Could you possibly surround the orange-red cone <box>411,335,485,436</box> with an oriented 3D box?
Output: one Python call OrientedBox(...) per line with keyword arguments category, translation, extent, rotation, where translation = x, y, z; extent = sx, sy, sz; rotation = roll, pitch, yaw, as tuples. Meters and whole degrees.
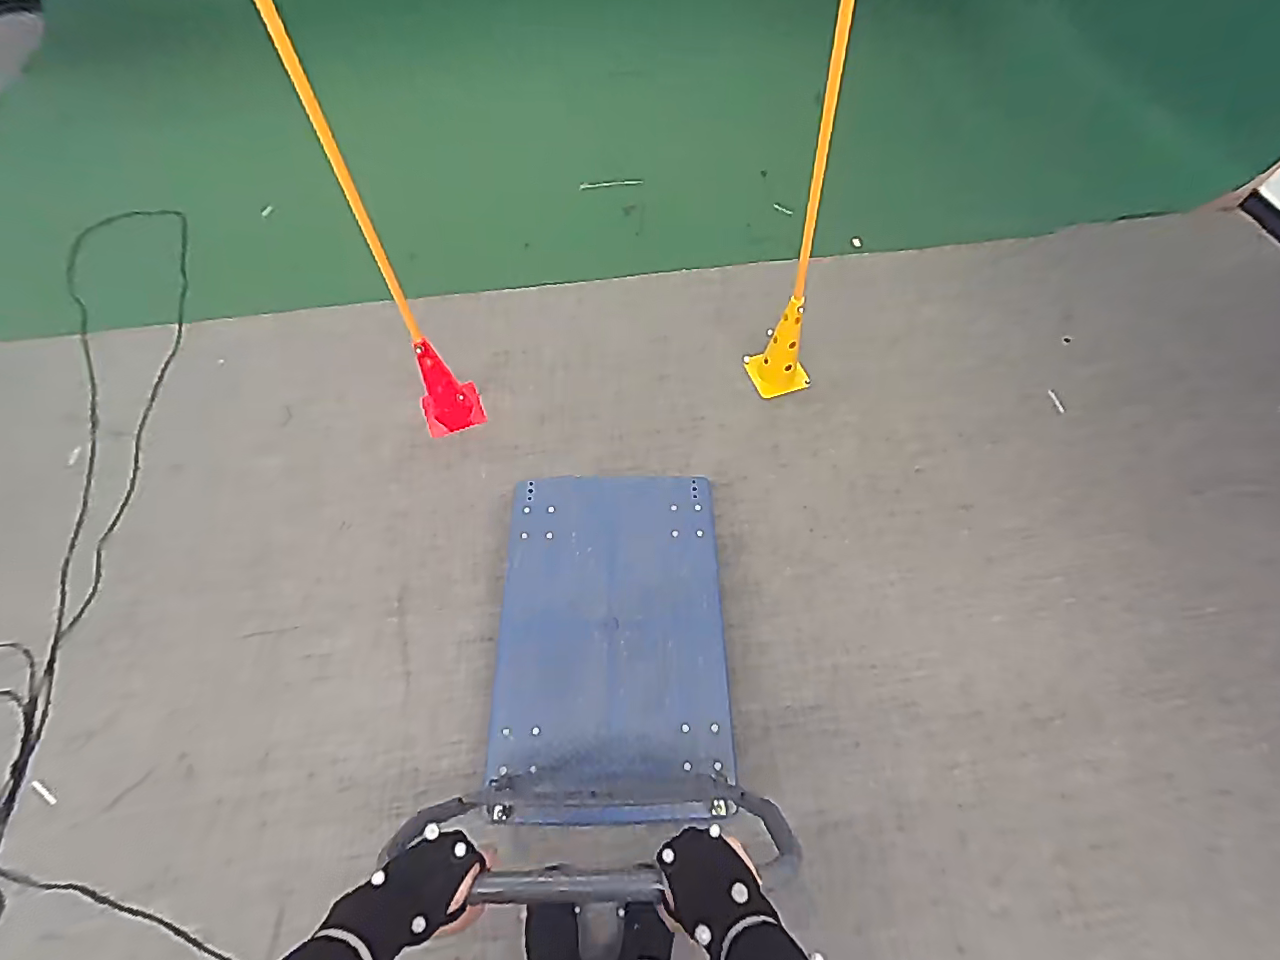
OrientedBox(category="orange-red cone", translation=(-0.673, -0.338, 1.787), extent=(0.199, 0.360, 0.198), rotation=(-21, 62, -9))
